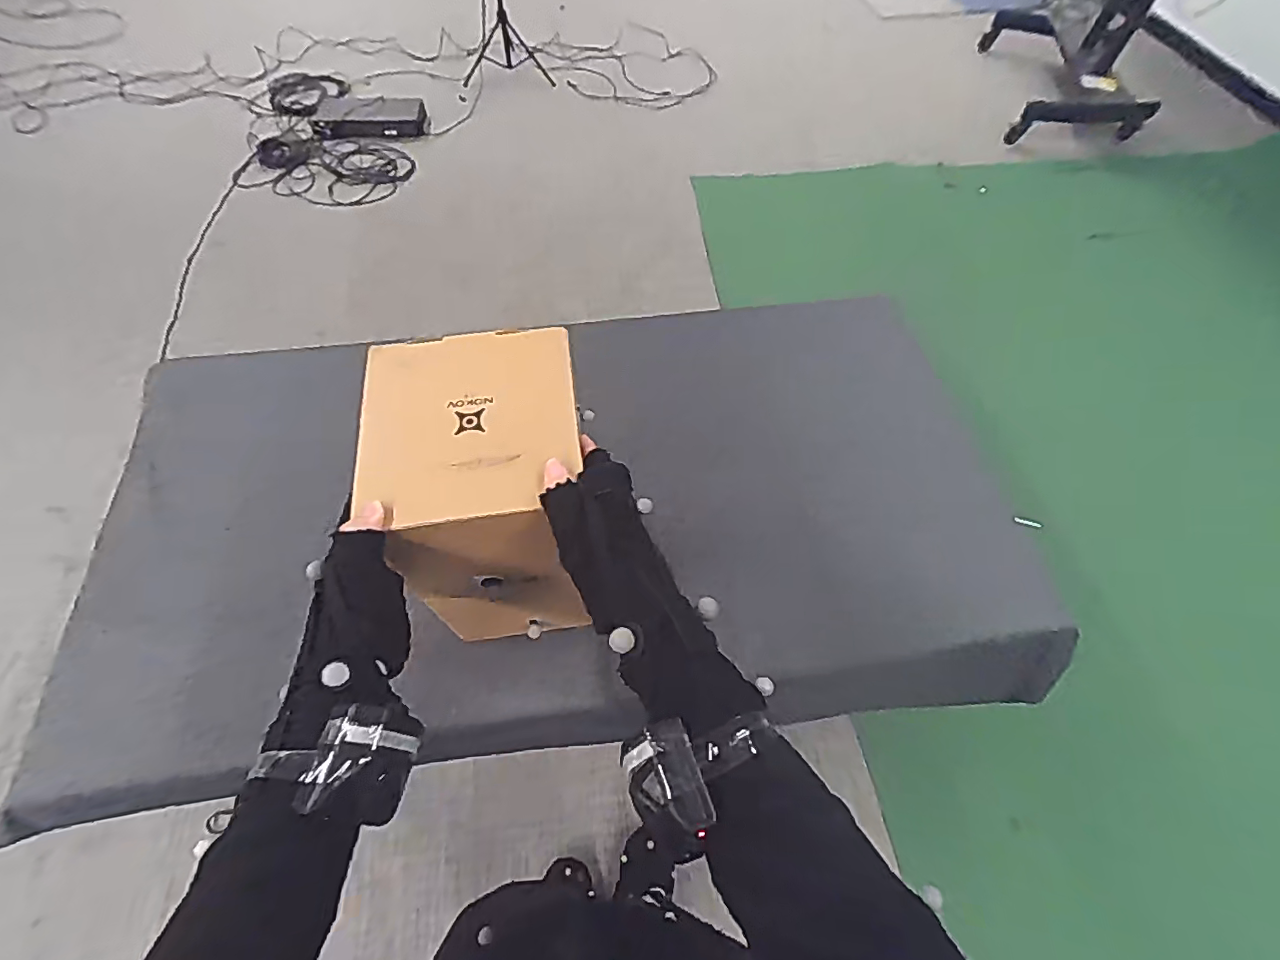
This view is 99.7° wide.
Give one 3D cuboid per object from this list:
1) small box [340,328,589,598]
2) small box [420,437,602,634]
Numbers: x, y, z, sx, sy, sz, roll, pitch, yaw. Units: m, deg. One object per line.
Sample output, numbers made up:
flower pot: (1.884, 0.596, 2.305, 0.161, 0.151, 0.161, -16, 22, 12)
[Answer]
small box: (-0.139, -0.009, 0.489, 0.168, 0.176, 0.179, -7, 62, -4)
small box: (-0.138, 0.070, 0.630, 0.179, 0.176, 0.168, -7, 60, -5)
